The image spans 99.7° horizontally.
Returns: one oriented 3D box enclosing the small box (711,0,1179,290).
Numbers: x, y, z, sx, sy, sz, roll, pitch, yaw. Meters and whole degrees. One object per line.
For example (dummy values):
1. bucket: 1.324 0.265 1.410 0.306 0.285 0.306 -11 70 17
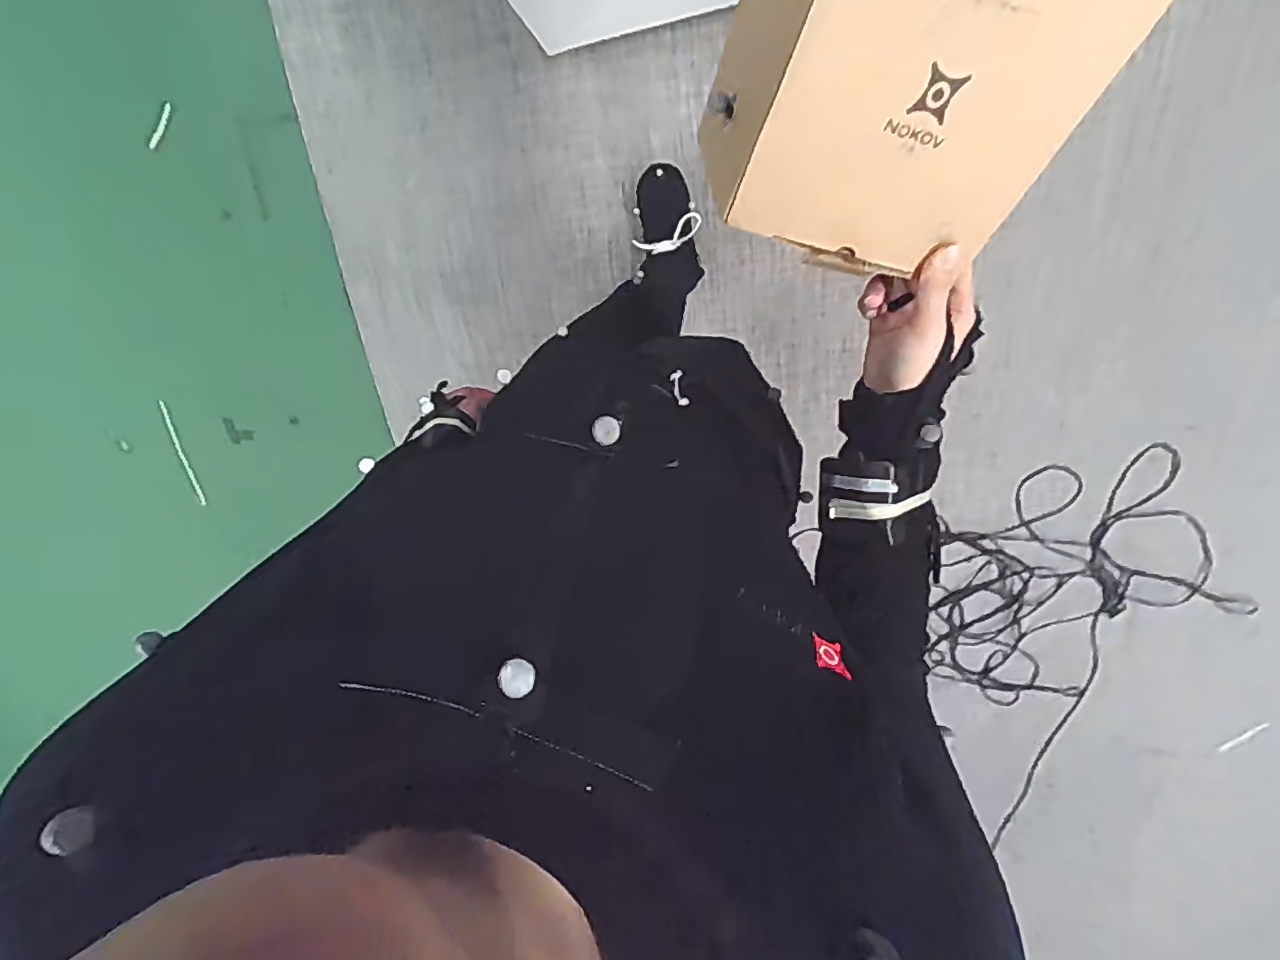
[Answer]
1. small box: 0.151 -0.254 0.335 0.168 0.176 0.179 9 137 -13
